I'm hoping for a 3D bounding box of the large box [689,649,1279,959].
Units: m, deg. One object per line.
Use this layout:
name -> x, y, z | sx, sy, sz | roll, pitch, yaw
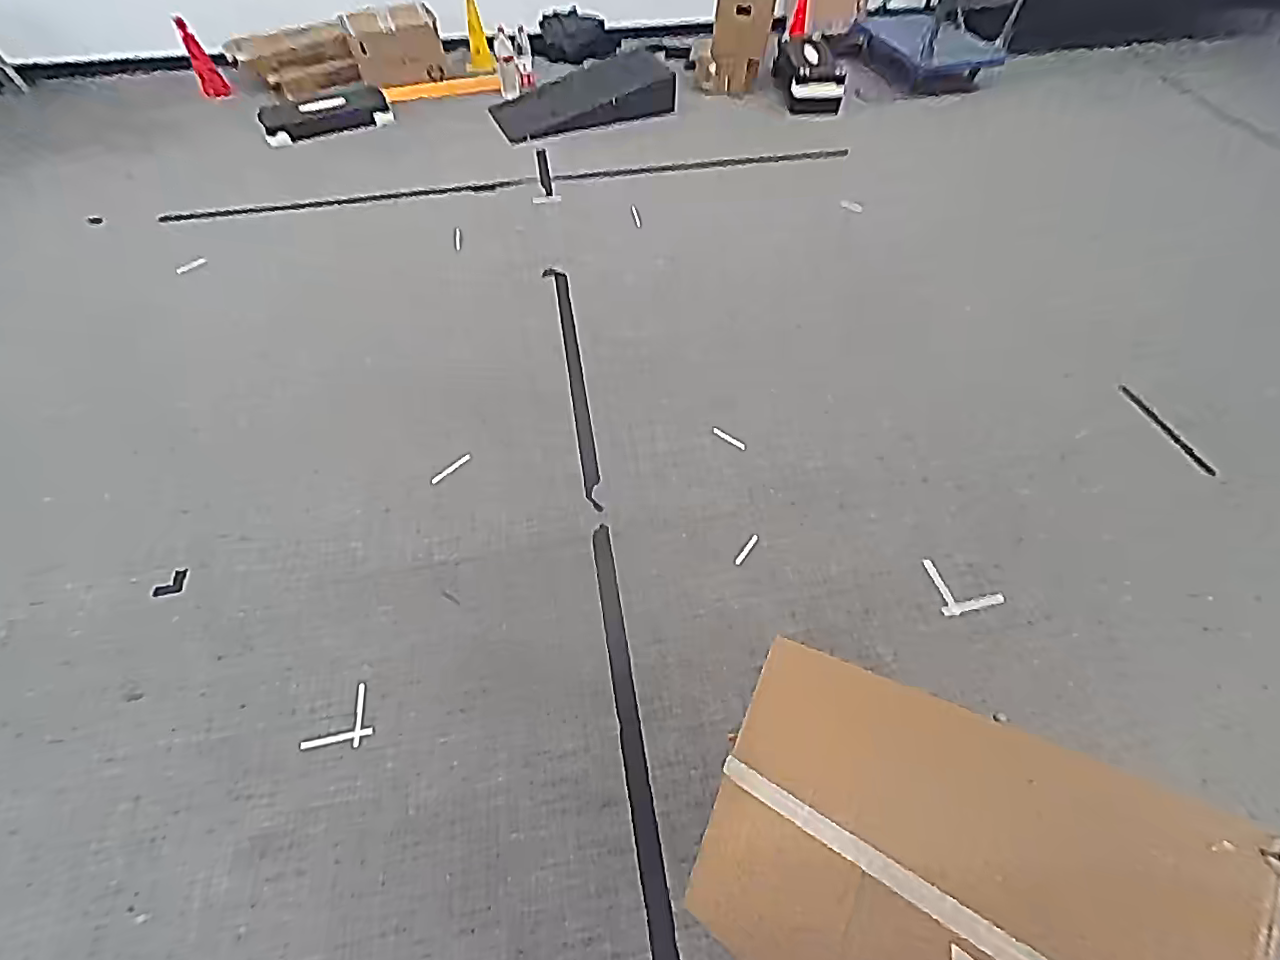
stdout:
large box -> 0.334, 0.418, 0.565 | 0.408, 0.320, 0.320 | 10, 74, 47
